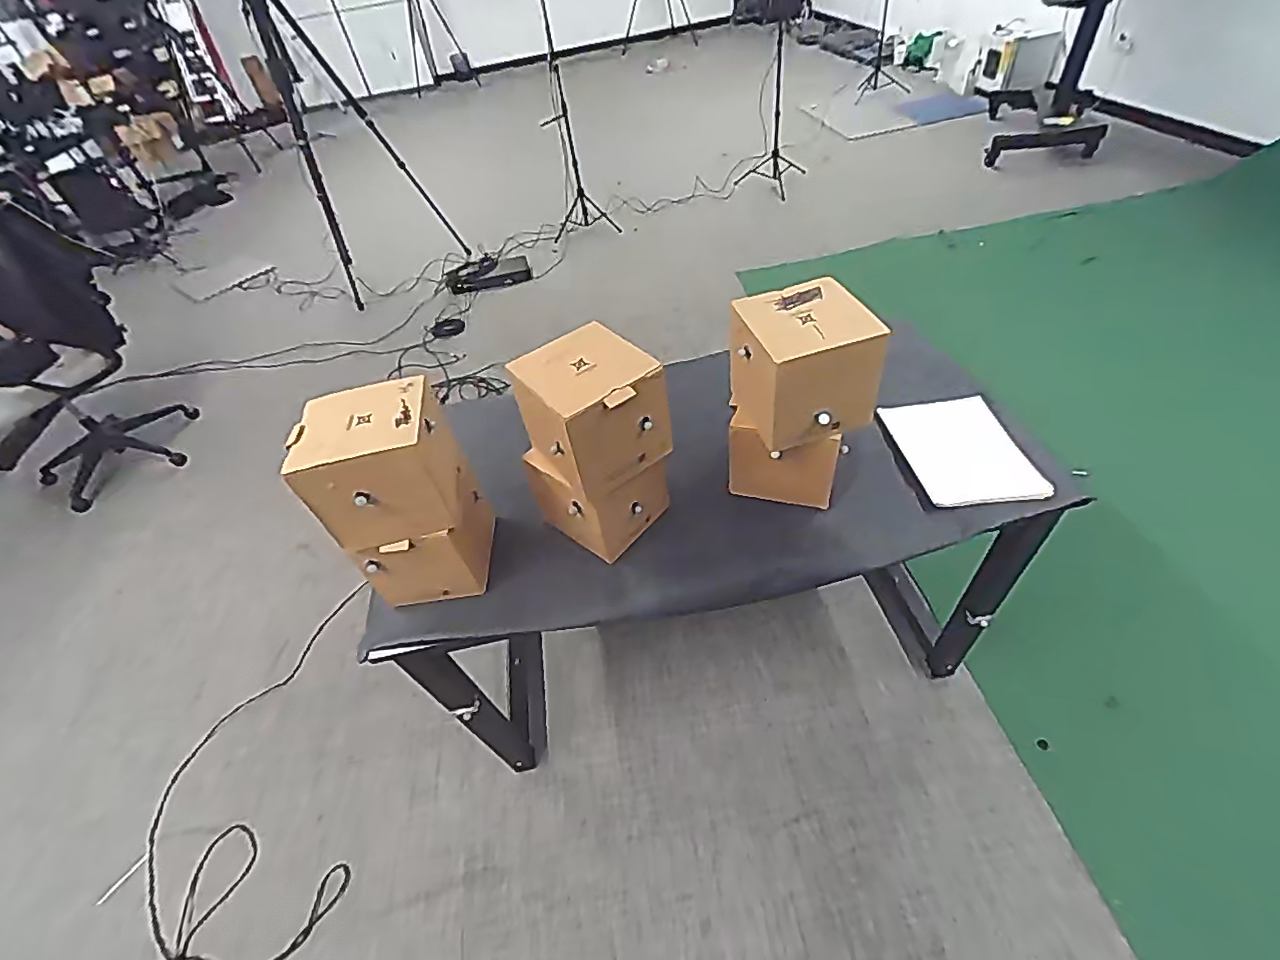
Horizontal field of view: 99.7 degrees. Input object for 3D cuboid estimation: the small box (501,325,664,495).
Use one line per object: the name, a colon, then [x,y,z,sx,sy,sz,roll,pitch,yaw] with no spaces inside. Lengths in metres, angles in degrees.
small box: [-0.079,-0.101,0.819,0.168,0.176,0.179,-32,49,-21]

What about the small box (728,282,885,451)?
small box: [0.241,-0.173,0.829,0.168,0.176,0.179,-16,47,-4]

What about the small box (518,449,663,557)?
small box: [-0.076,0.008,0.941,0.179,0.176,0.168,28,57,31]

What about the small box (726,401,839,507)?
small box: [0.258,-0.072,0.958,0.179,0.176,0.168,9,49,19]

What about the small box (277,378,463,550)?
small box: [-0.379,-0.020,0.794,0.179,0.176,0.168,-14,45,-3]
